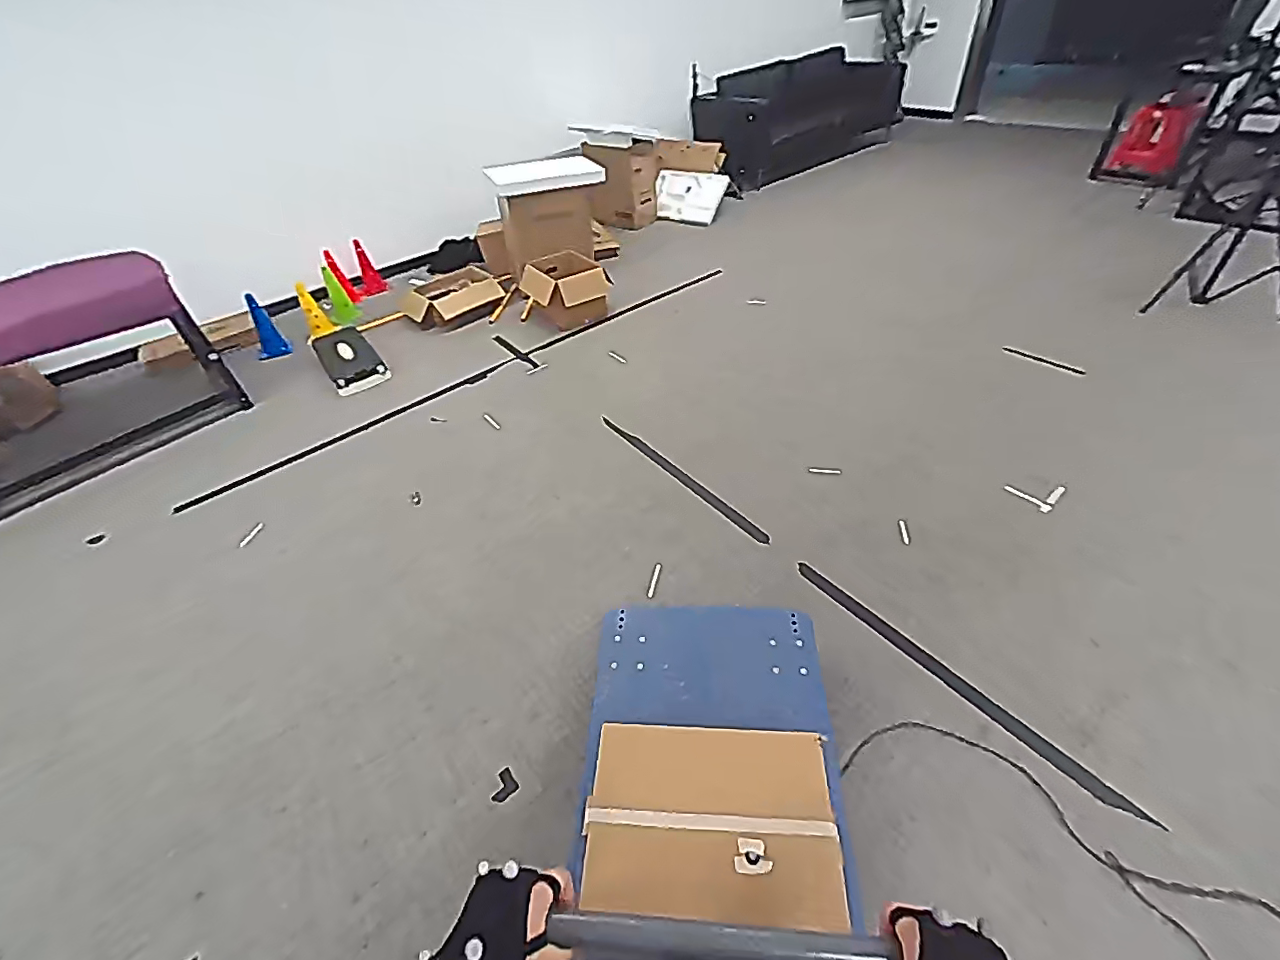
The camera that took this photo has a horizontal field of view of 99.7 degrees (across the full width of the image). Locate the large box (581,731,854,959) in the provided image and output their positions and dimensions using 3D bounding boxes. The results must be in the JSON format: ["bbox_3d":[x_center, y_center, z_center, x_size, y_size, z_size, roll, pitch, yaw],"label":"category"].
[{"bbox_3d":[0.126,0.687,0.990,0.408,0.320,0.320,0,43,6],"label":"large box"}]
